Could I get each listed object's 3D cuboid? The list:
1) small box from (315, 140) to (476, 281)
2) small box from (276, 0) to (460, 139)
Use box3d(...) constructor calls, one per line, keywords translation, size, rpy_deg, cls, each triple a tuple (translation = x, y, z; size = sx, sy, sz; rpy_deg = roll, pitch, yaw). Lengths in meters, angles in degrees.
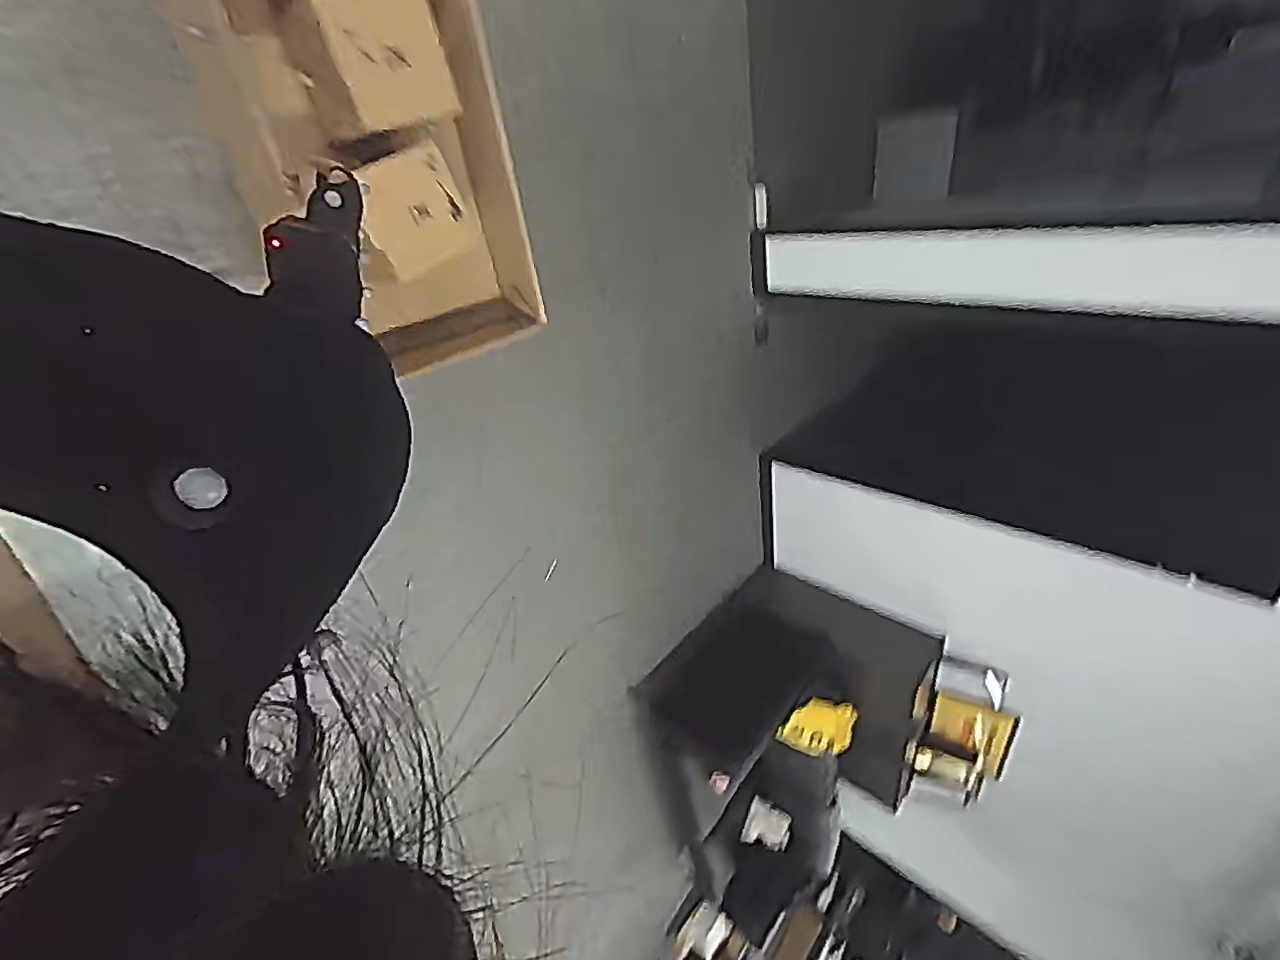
box3d(translation=(-0.426, -0.460, 0.934), size=(0.179, 0.176, 0.168), rpy_deg=(-44, 134, -27), cls="small box")
box3d(translation=(-0.425, -0.653, 0.851), size=(0.179, 0.176, 0.168), rpy_deg=(-37, 130, -33), cls="small box")
